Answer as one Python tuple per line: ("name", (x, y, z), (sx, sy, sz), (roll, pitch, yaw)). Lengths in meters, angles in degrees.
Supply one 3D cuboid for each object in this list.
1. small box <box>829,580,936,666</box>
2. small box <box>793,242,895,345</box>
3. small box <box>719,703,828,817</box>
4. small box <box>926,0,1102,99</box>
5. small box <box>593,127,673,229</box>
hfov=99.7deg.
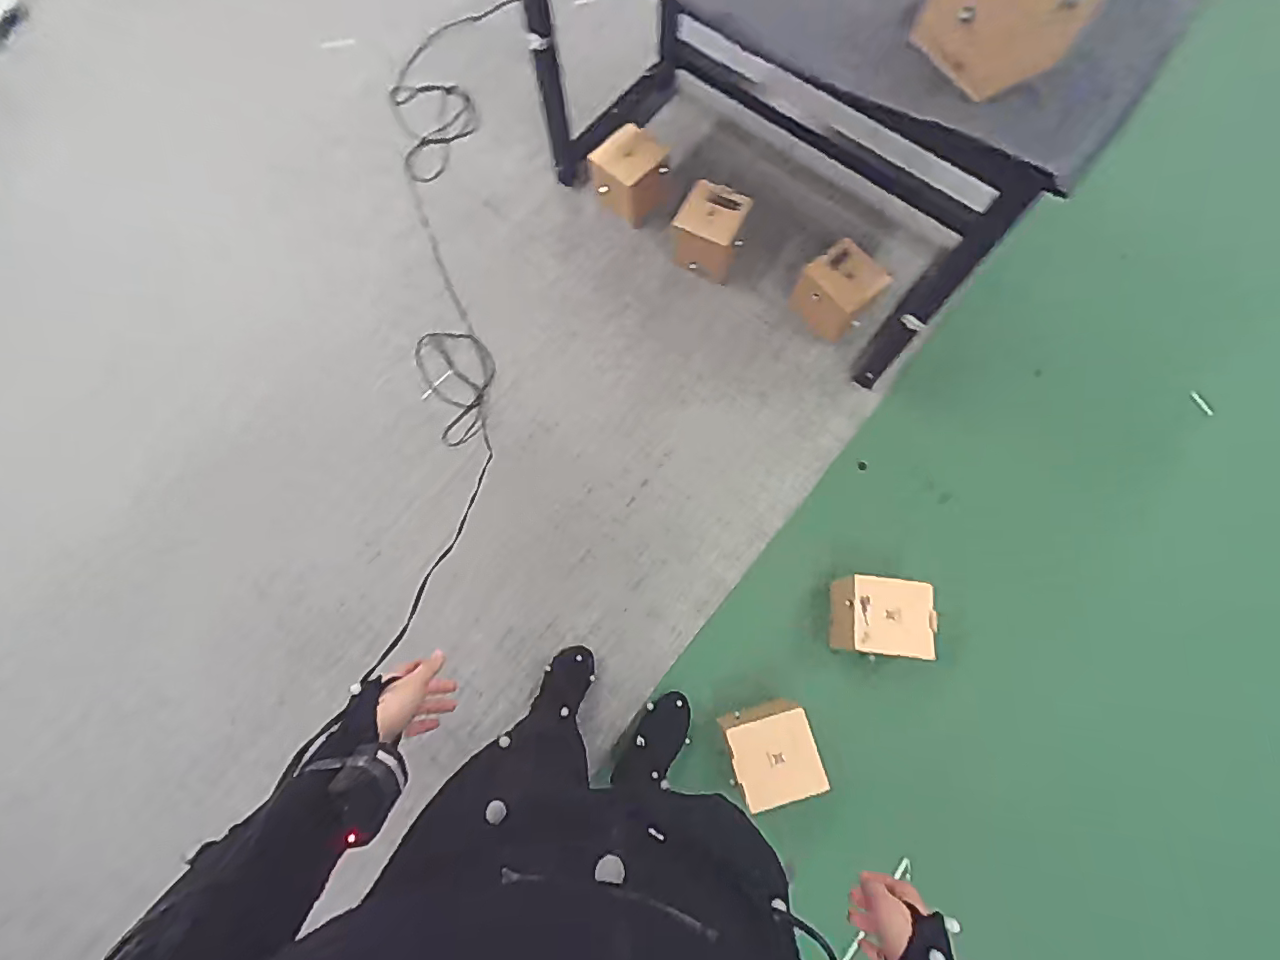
("small box", (0.558, 0.331, 1.257), (0.179, 0.176, 0.168), (7, 74, 2))
("small box", (0.556, -0.512, 1.503), (0.168, 0.176, 0.179), (-37, 78, -9))
("small box", (0.278, 0.602, 1.181), (0.179, 0.176, 0.168), (-15, 75, -4))
("small box", (0.561, -0.713, 0.800), (0.179, 0.176, 0.168), (-28, 75, -10))
("small box", (-0.017, -0.904, 1.631), (0.168, 0.176, 0.179), (42, 78, 12))
